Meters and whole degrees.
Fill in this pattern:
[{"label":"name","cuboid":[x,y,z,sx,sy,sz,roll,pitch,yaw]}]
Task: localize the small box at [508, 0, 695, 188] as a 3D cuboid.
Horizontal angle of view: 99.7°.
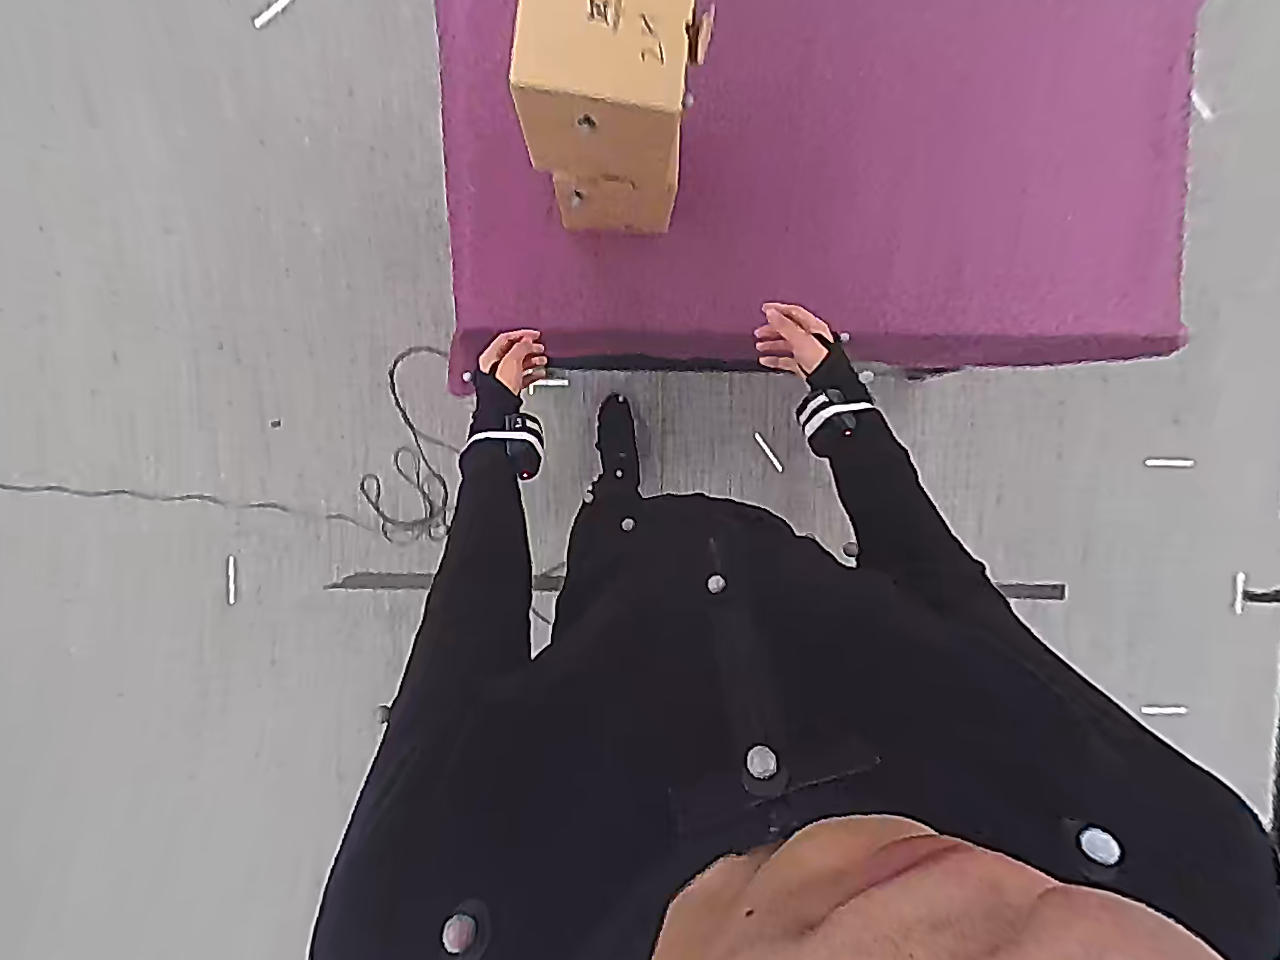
[{"label":"small box","cuboid":[-0.039,-0.465,0.620,0.179,0.176,0.168,8,93,-4]}]
